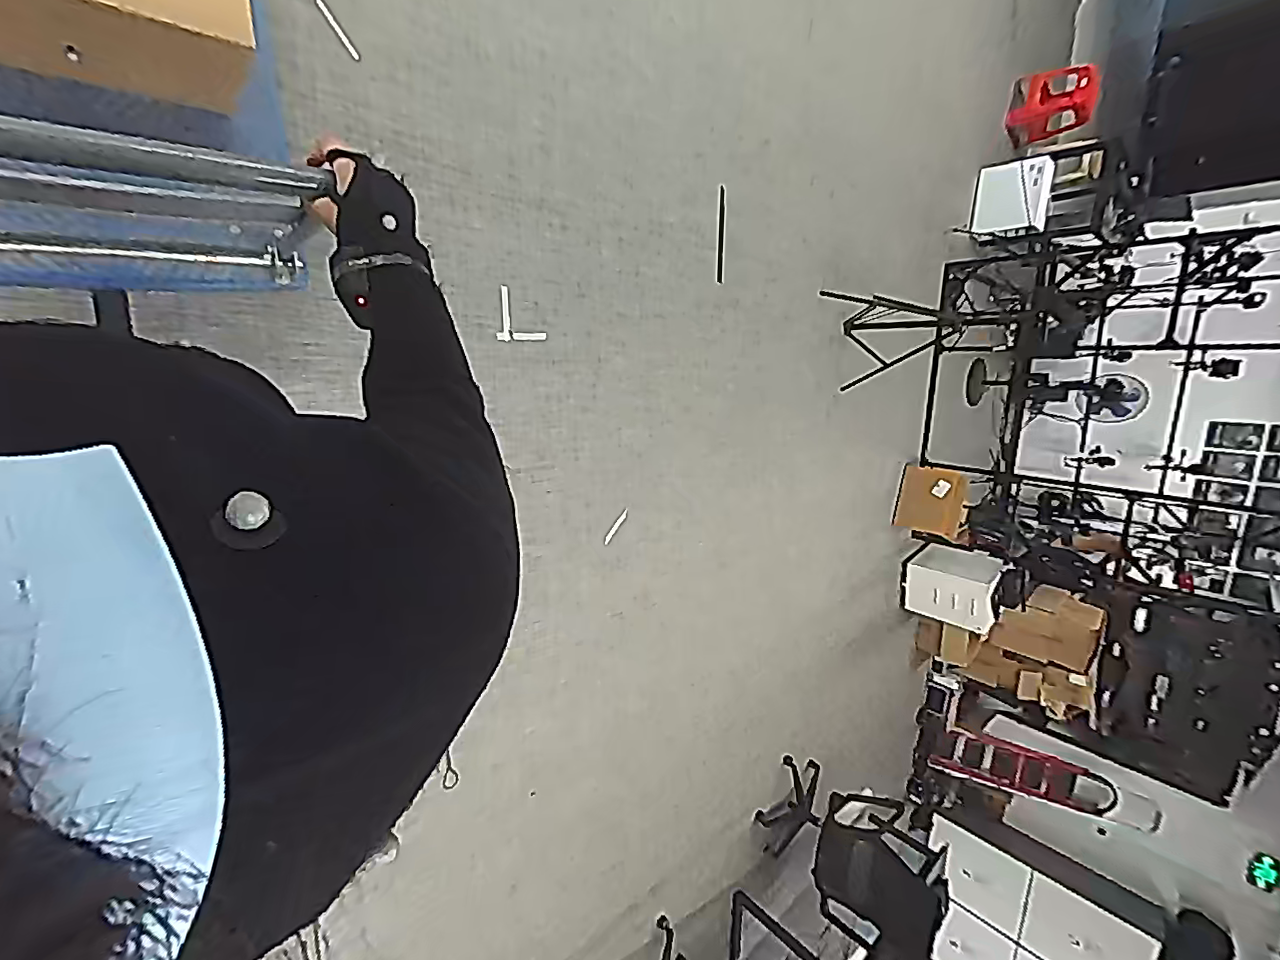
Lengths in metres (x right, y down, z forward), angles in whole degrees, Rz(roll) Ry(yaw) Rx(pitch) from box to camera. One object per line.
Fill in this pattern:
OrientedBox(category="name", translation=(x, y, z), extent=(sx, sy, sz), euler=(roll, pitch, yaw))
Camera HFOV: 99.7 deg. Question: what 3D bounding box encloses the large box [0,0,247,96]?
OrientedBox(category="large box", translation=(-0.817, -0.785, 0.728), extent=(0.408, 0.320, 0.320), euler=(-13, 108, -40))
